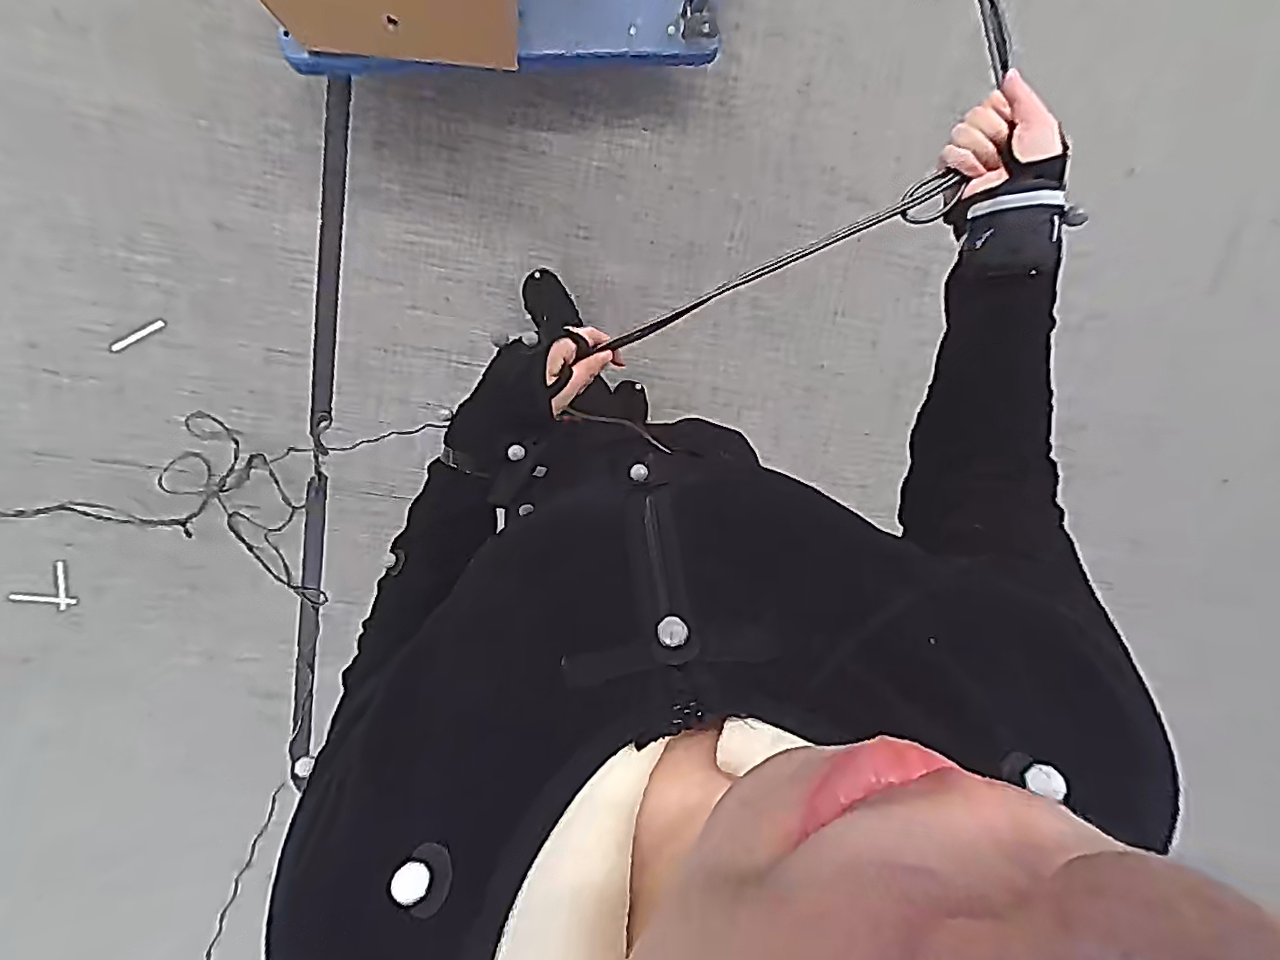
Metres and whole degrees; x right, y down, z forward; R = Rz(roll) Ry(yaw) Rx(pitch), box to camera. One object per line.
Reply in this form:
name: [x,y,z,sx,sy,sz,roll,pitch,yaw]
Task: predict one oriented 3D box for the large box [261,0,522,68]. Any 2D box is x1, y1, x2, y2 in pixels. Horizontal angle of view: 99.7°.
large box: [-0.415,-0.925,0.878,0.408,0.320,0.320,0,103,-6]
